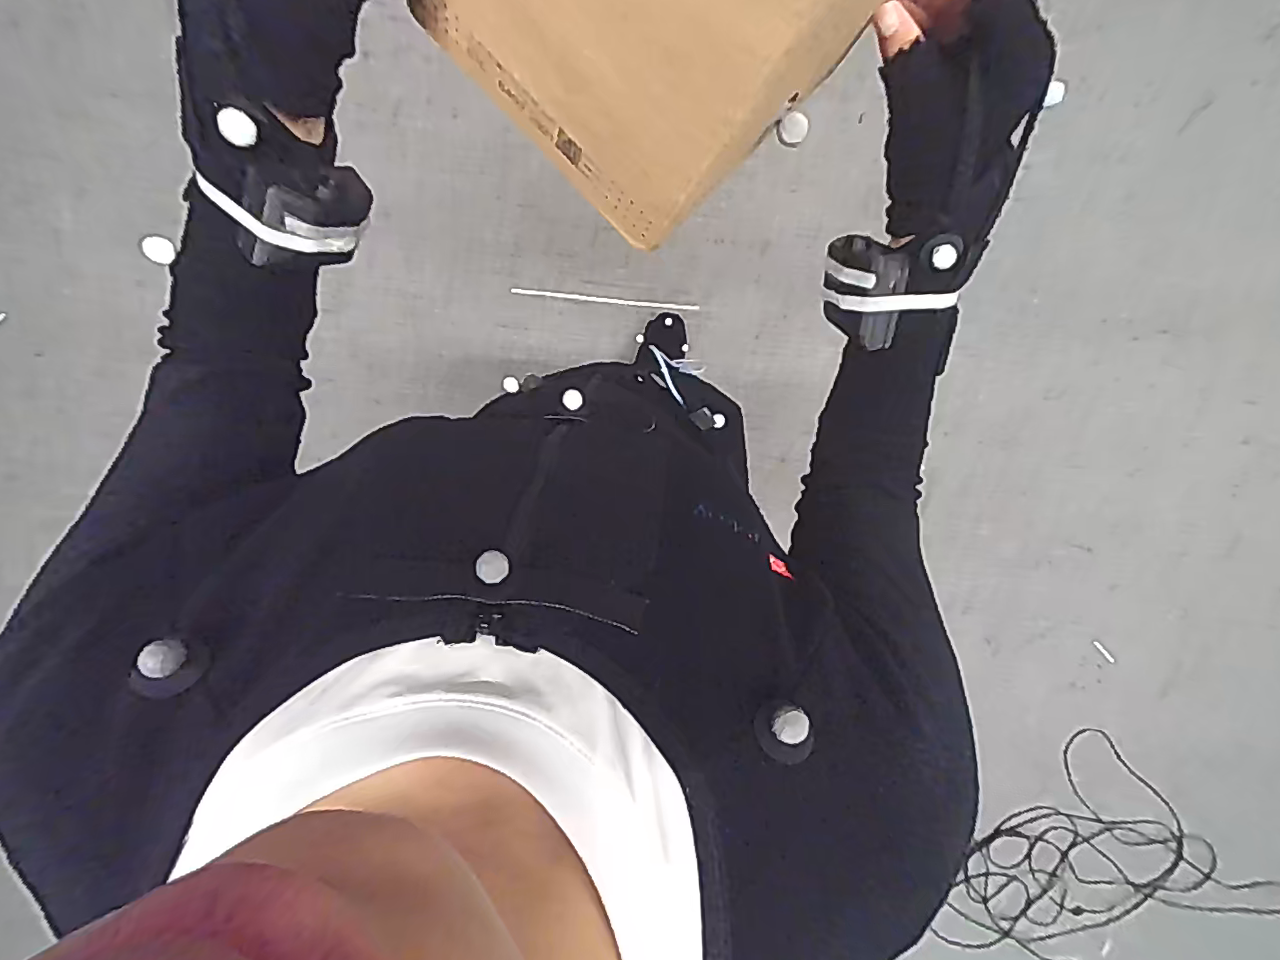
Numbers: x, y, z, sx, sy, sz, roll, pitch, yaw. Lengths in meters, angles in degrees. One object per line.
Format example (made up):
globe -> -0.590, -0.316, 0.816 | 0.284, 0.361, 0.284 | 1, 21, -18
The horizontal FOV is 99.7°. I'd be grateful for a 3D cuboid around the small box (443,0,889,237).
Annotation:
small box -> 0.029, -0.248, 0.225 | 0.168, 0.176, 0.179 | 43, 76, -10
